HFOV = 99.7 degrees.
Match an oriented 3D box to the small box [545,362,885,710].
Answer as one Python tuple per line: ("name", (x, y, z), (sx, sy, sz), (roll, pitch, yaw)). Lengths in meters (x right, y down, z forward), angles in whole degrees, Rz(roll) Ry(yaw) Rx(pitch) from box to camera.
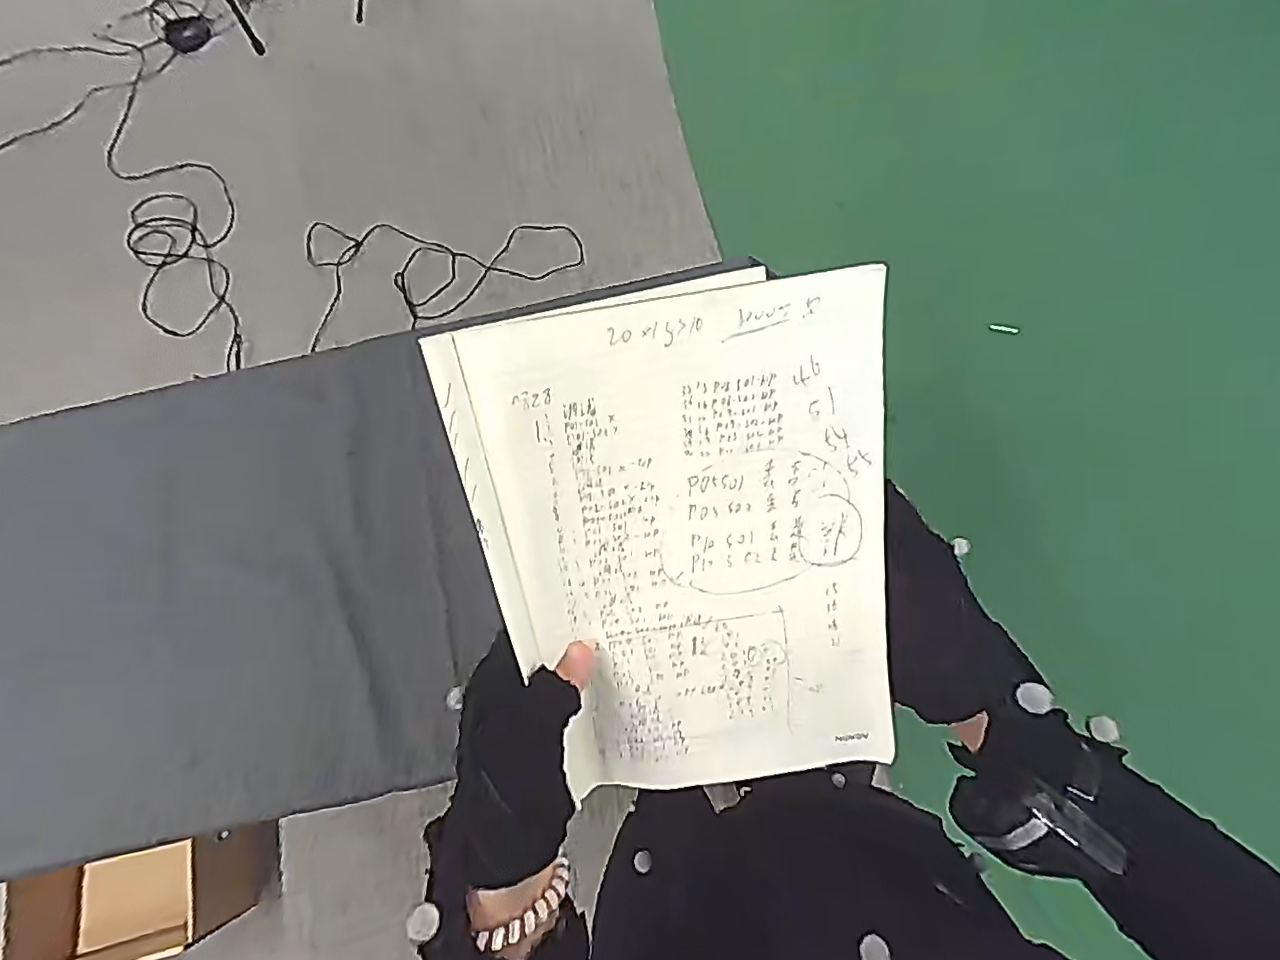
("small box", (0.044, 0.041, 0.406), (0.168, 0.176, 0.179), (-19, 82, 0))
